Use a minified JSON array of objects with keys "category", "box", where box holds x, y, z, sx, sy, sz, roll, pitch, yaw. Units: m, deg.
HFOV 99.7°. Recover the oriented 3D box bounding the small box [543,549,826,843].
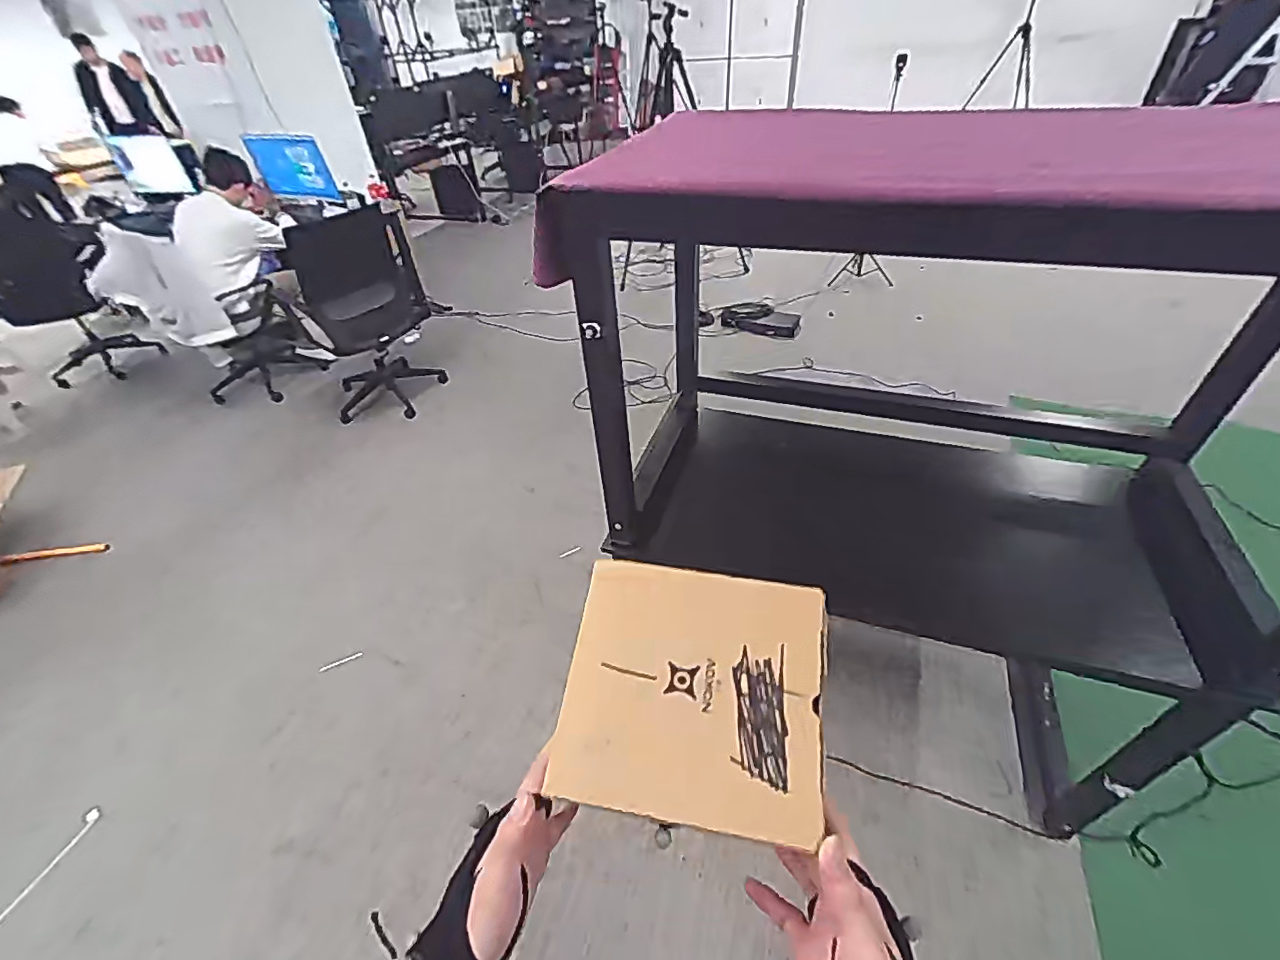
[{"category":"small box","box":[0.041,0.175,0.439,0.179,0.176,0.168,7,59,8]}]
